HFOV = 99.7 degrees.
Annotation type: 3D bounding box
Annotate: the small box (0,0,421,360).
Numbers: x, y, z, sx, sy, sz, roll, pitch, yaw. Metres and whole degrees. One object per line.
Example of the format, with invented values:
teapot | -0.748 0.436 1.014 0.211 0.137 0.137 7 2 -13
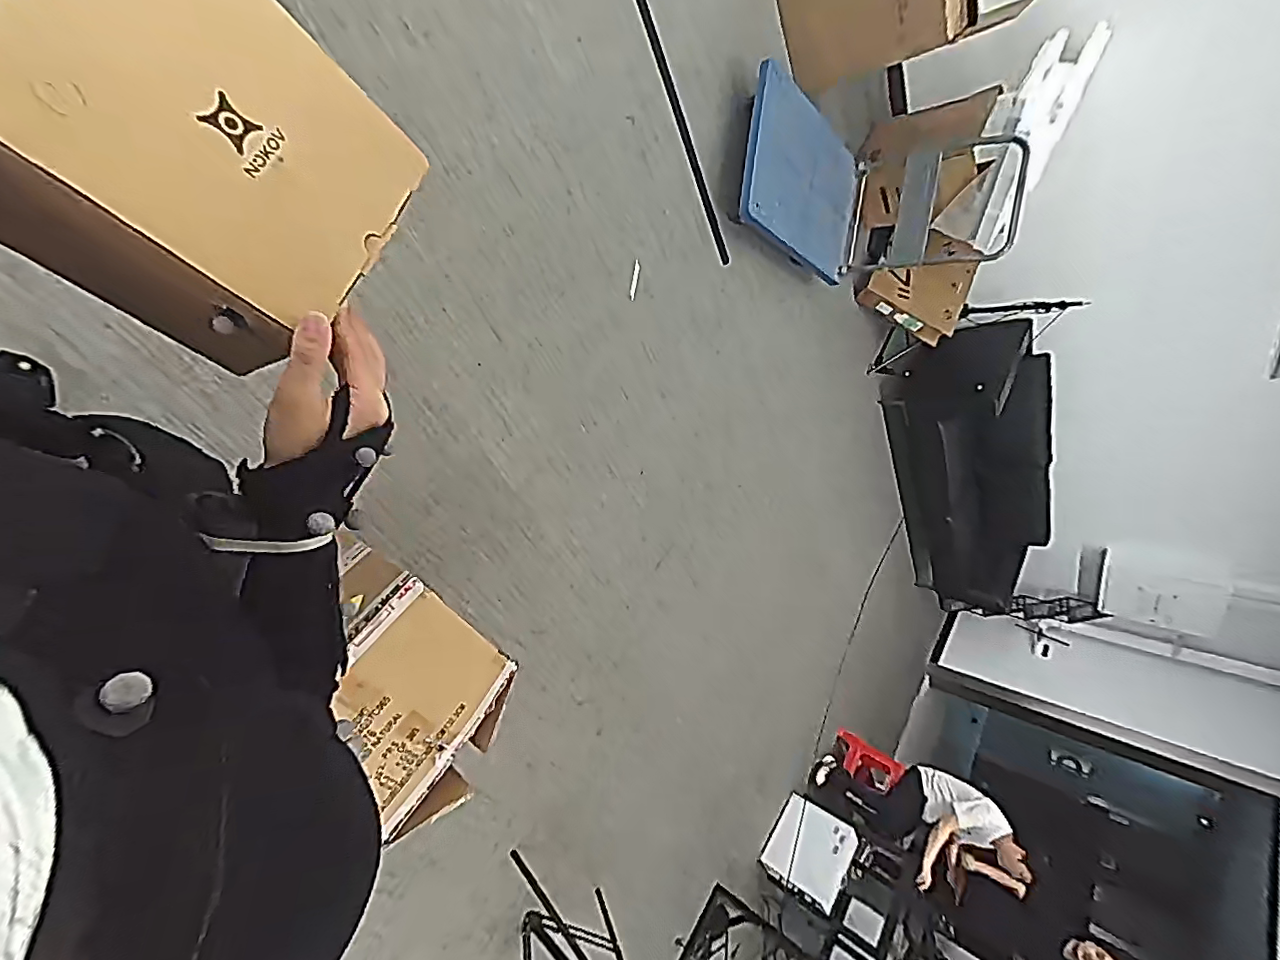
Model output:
small box | -0.293 -0.197 0.357 0.179 0.176 0.168 40 62 -44
